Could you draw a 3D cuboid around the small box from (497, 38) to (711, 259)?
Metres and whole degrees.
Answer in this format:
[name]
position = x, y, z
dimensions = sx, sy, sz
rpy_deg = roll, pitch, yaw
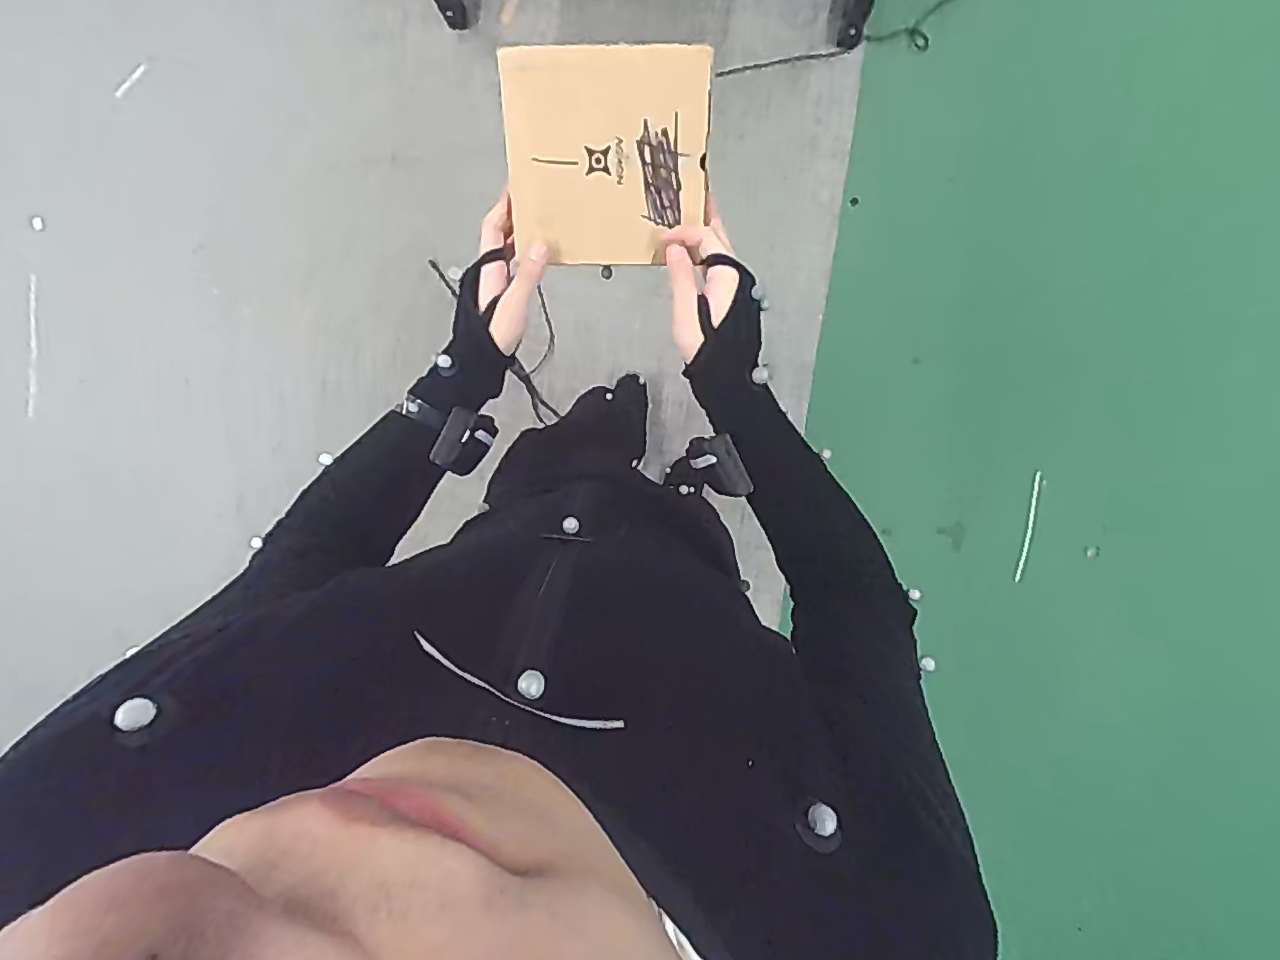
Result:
[small box]
position = -0.027, -0.312, 0.538
dimensions = 0.179, 0.176, 0.168
rpy_deg = 0, 114, 2
